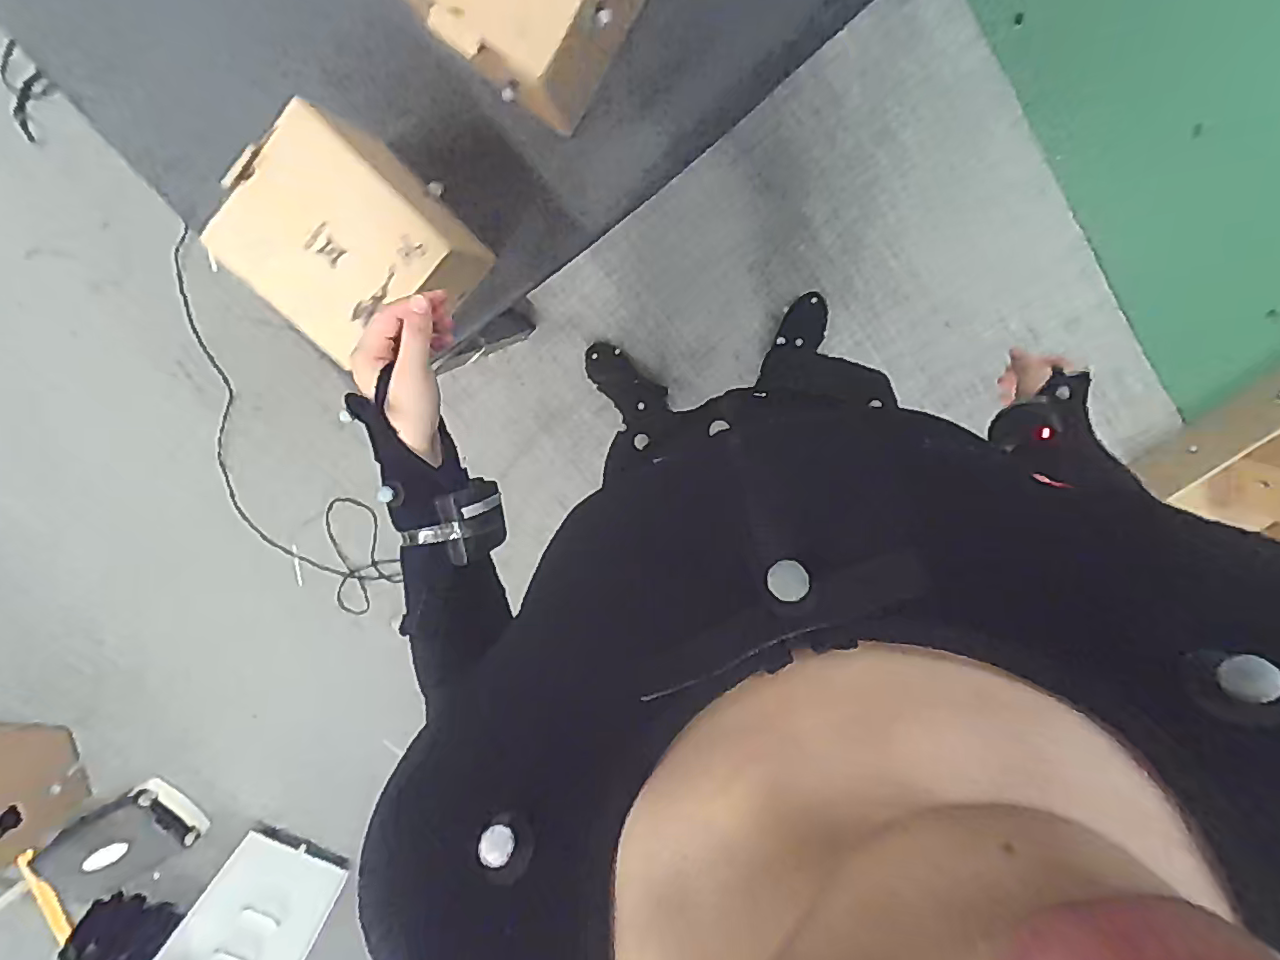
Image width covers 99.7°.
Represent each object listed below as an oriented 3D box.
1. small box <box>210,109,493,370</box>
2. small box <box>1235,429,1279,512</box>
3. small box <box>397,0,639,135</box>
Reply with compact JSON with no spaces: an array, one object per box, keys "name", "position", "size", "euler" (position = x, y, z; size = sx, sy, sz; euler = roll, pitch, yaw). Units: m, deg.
[{"name":"small box","position":[-0.294,-0.245,0.591],"size":[0.179,0.176,0.168],"euler":[44,105,-12]},{"name":"small box","position":[1.626,-0.022,1.323],"size":[0.179,0.176,0.168],"euler":[-26,107,11]},{"name":"small box","position":[-0.108,-0.470,0.509],"size":[0.168,0.176,0.179],"euler":[32,106,-9]}]
